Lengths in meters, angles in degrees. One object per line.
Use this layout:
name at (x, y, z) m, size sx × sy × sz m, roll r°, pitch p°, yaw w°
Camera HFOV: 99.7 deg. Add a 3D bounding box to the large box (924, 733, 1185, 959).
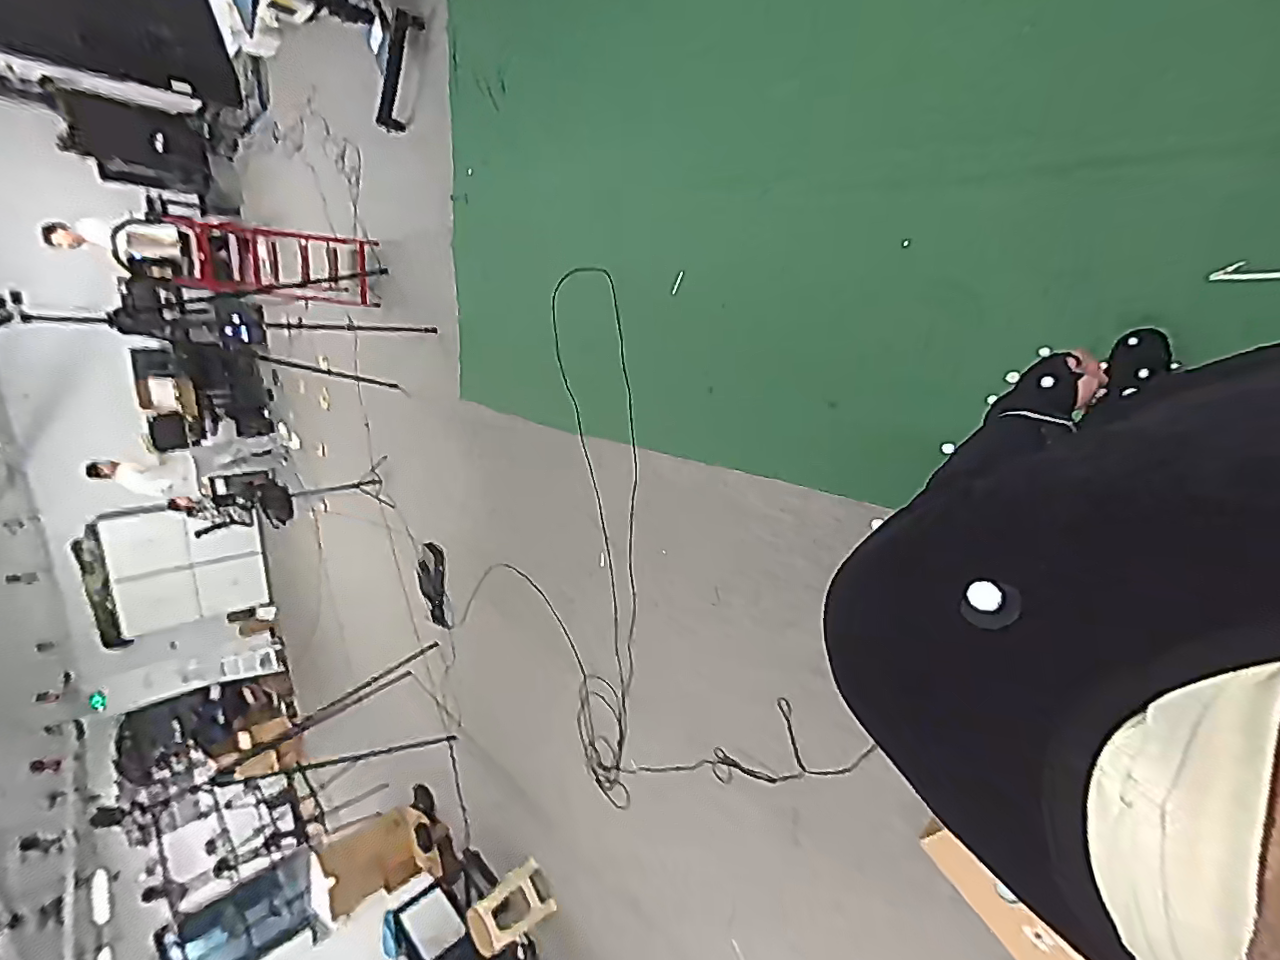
large box at (1.033, 0.951, 1.375) m, size 0.408 × 0.320 × 0.320 m, roll 49°, pitch 129°, yaw 26°
